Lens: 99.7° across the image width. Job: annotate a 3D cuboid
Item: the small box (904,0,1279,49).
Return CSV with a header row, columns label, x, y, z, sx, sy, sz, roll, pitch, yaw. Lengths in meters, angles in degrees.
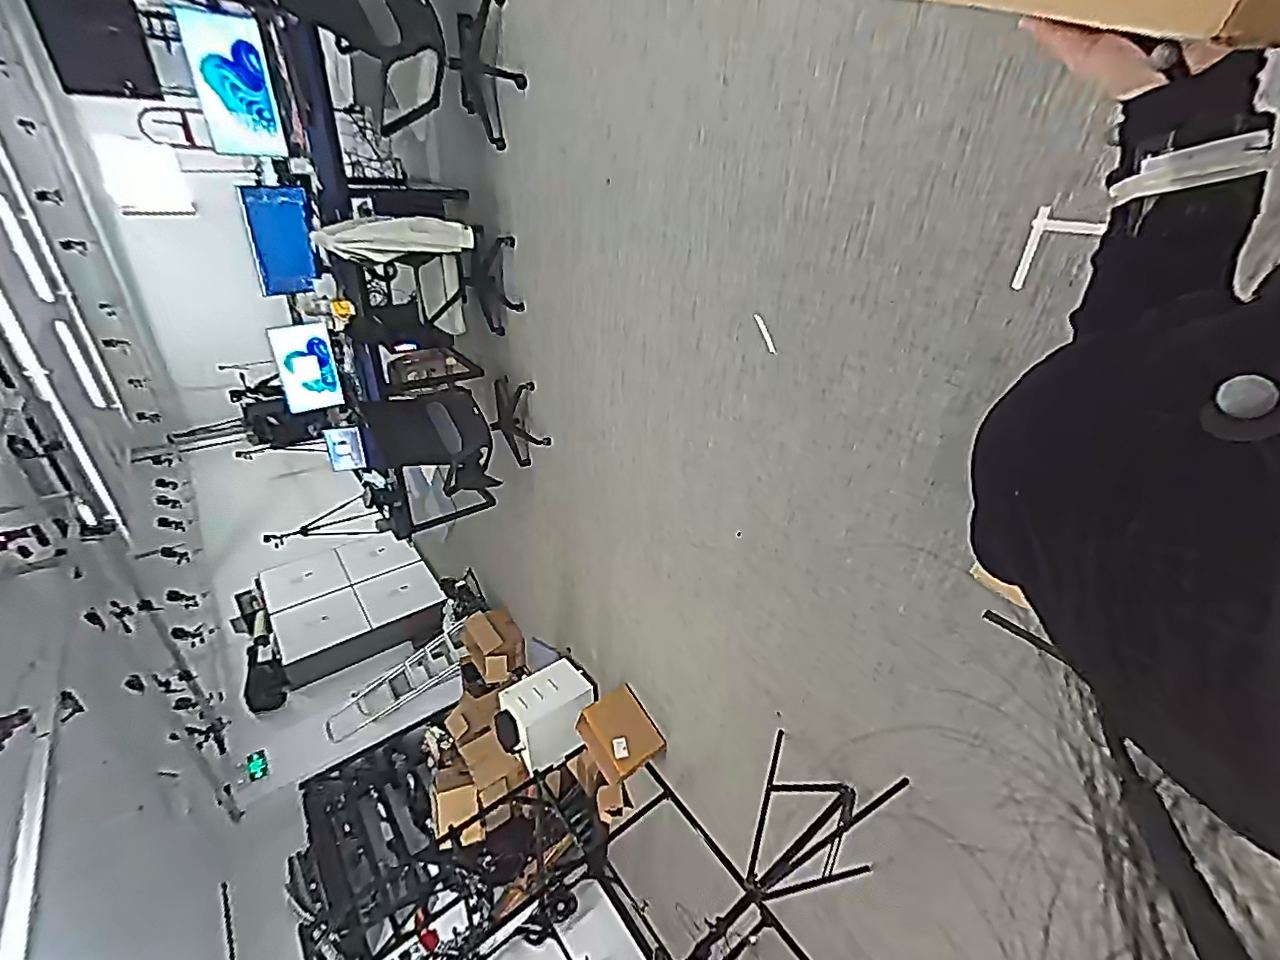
label,x,y,z,sx,sy,sz,roll,pitch,yaw
small box,0.267,-0.315,0.246,0.179,0.176,0.168,50,149,36
